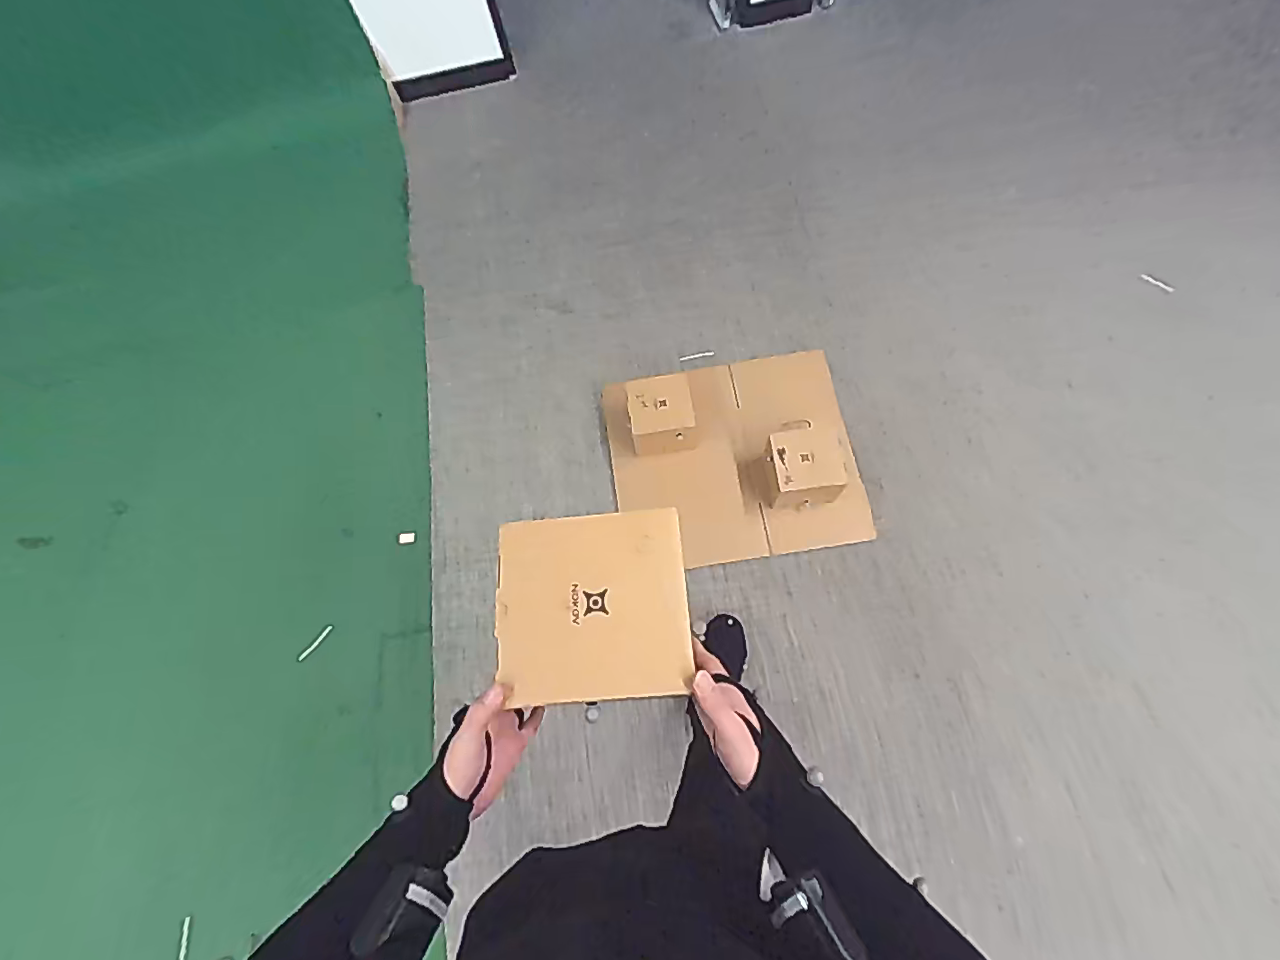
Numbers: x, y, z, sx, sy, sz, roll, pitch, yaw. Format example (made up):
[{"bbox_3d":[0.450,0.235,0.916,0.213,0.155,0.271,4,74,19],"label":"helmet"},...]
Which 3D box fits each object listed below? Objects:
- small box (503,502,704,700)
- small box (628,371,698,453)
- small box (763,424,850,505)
[{"bbox_3d":[-0.030,0.131,0.560,0.179,0.176,0.168,-7,69,5],"label":"small box"},{"bbox_3d":[0.065,-0.190,1.538,0.179,0.176,0.168,-8,71,3],"label":"small box"},{"bbox_3d":[0.441,-0.038,1.457,0.179,0.176,0.168,-6,71,3],"label":"small box"}]
